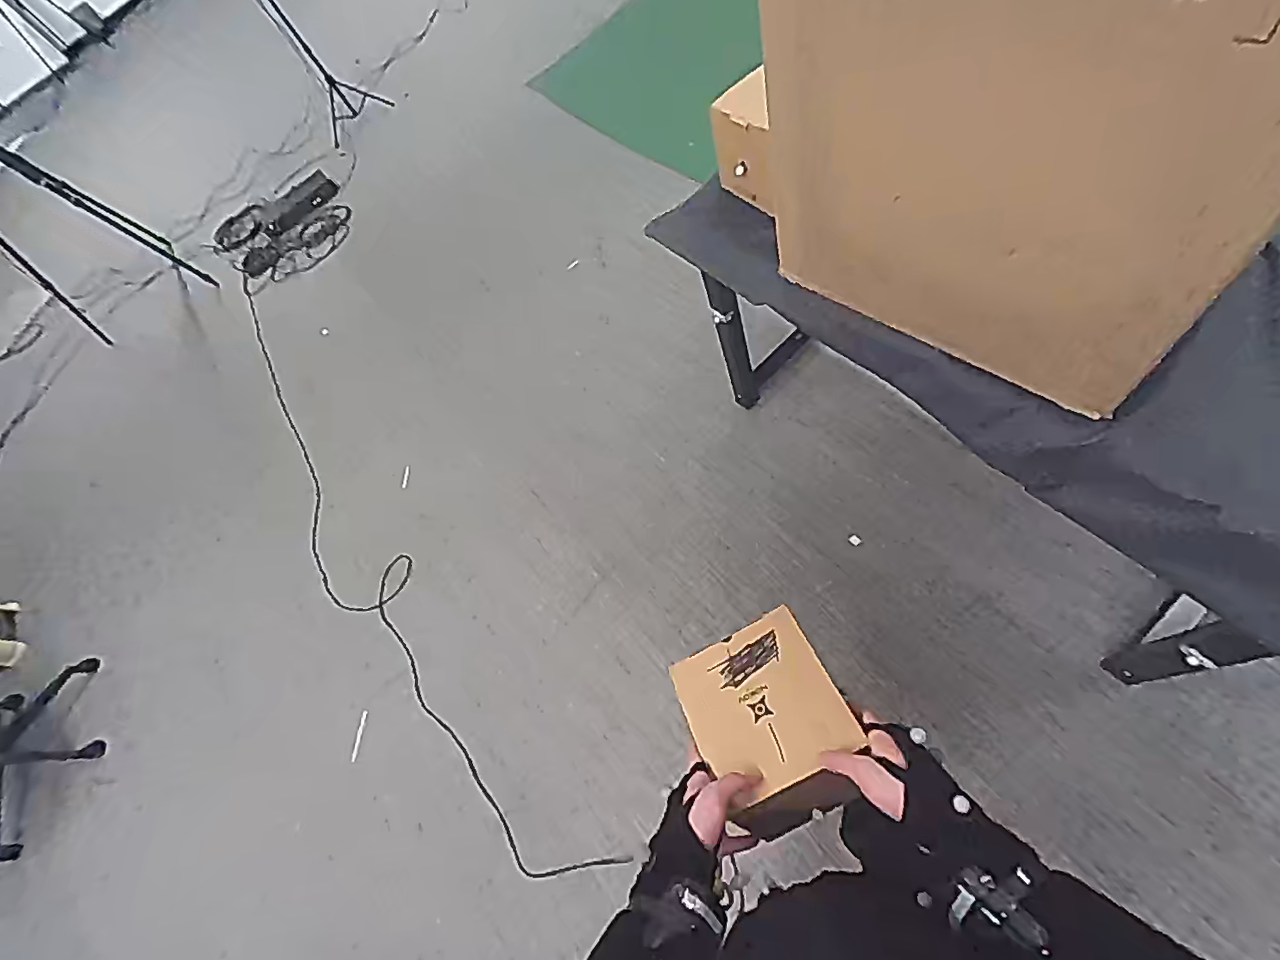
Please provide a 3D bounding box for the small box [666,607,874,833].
[{"bbox_3d":[0.158,0.295,0.660,0.168,0.176,0.179,-31,44,6],"label":"small box"}]
